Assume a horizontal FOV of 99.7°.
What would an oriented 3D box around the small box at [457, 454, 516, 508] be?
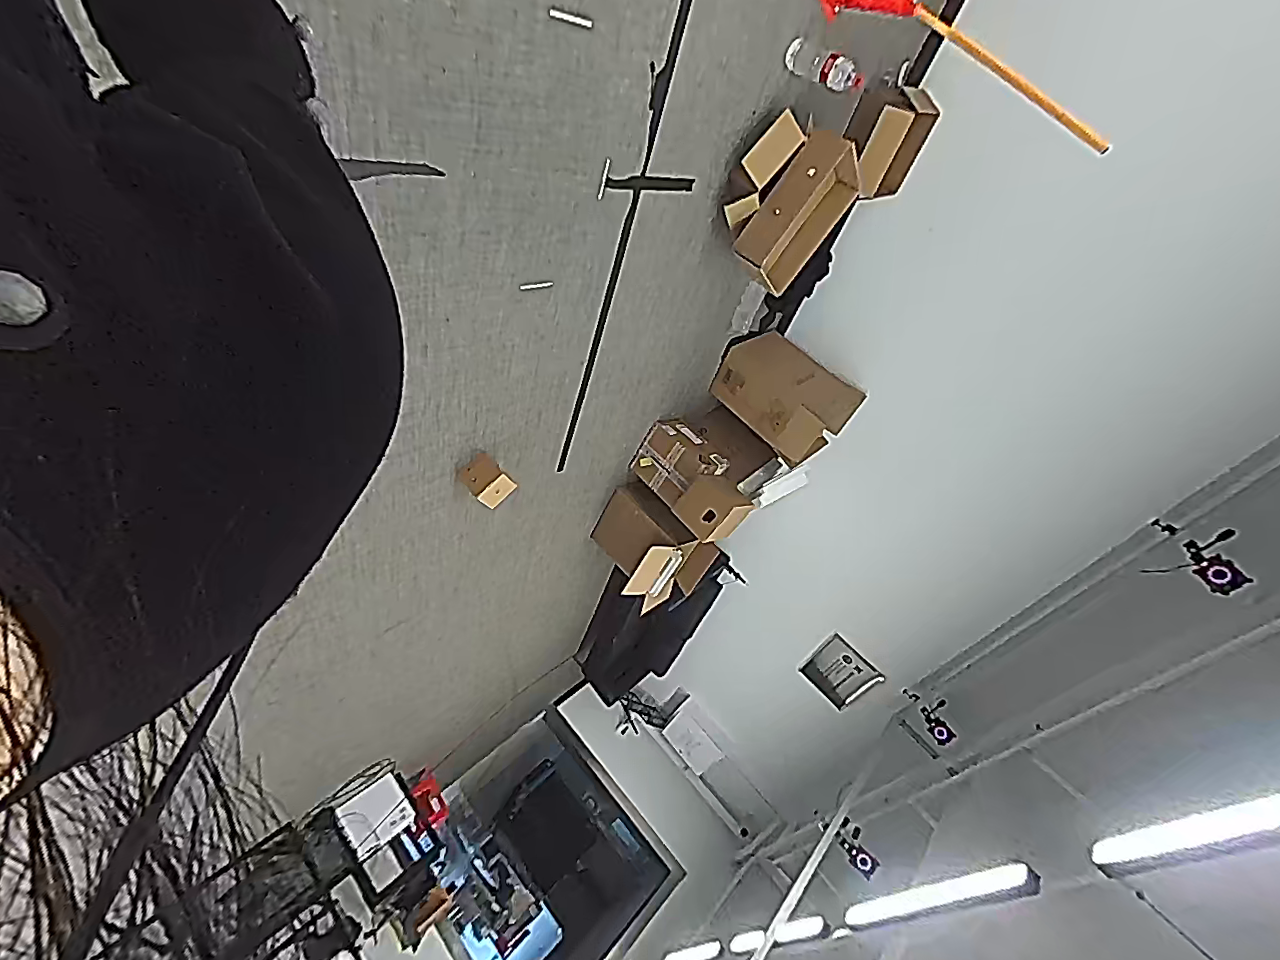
[{"bbox_3d":[-0.721,0.001,2.528,0.168,0.176,0.179,-43,160,-6],"label":"small box"}]
